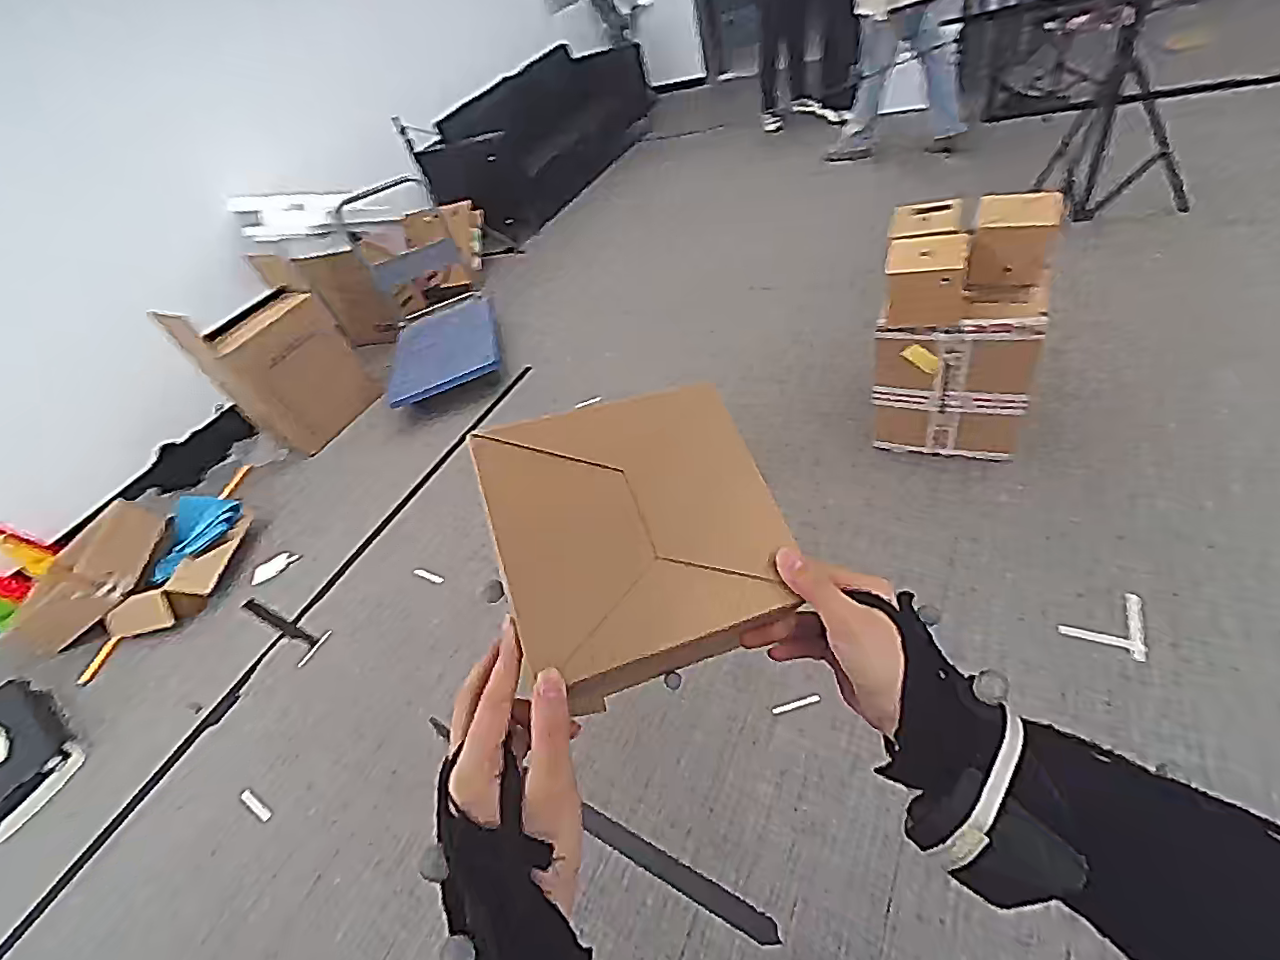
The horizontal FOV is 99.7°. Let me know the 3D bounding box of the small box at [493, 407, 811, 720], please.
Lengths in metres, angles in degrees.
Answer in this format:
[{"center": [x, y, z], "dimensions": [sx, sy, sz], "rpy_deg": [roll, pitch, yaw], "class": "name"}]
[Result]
[{"center": [-0.003, 0.065, 0.412], "dimensions": [0.179, 0.176, 0.168], "rpy_deg": [-14, 64, -17], "class": "small box"}]
